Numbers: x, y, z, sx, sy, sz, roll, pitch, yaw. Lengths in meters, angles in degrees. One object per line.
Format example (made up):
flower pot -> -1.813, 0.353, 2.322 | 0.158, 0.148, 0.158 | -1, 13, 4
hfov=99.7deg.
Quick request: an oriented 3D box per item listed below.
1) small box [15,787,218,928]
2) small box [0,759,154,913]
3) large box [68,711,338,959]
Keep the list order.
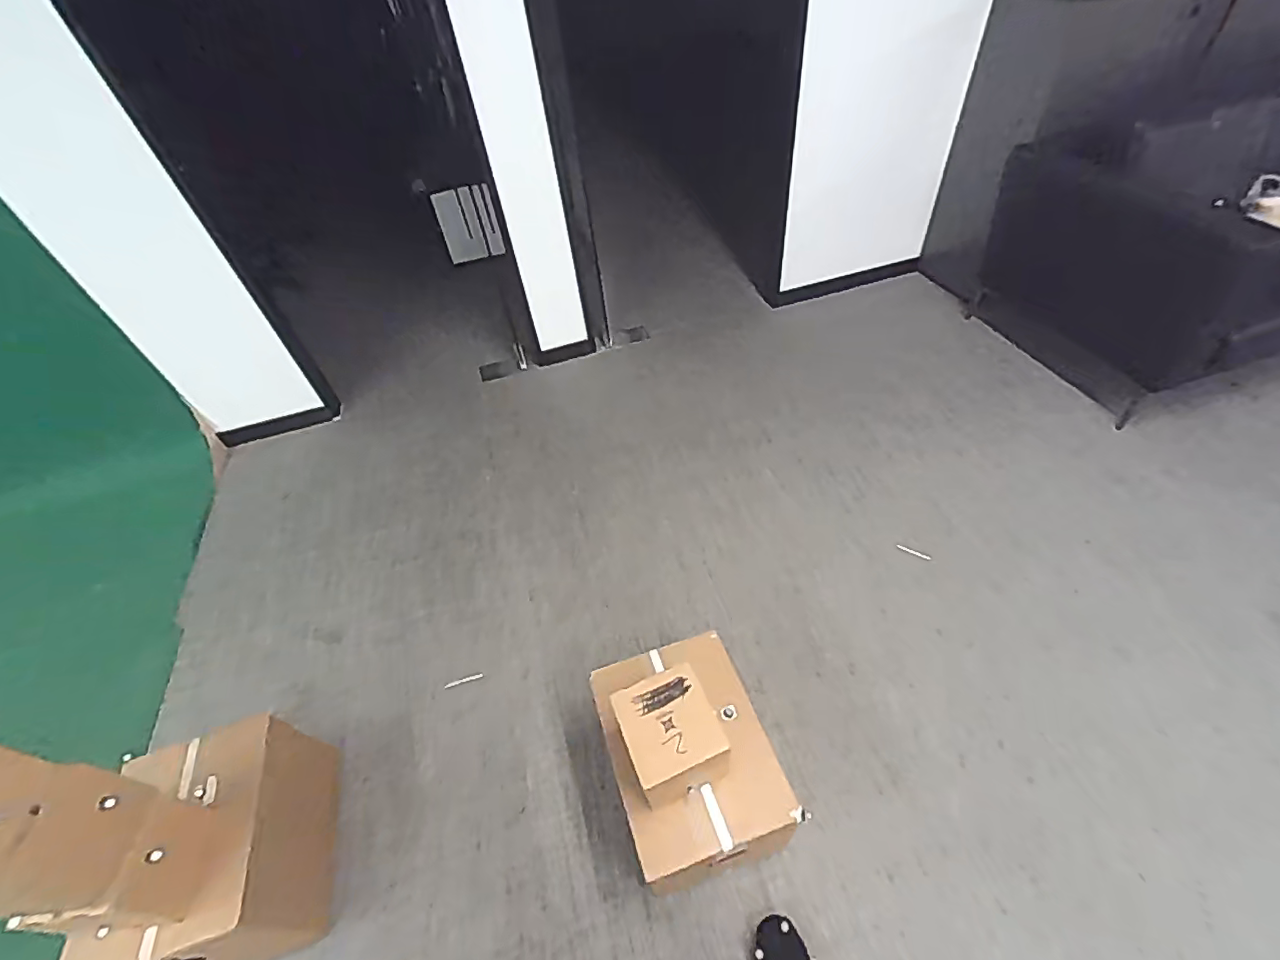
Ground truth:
small box -> -0.916, 0.680, 0.973 | 0.168, 0.176, 0.179 | -9, 48, 0
small box -> -0.940, 0.566, 0.858 | 0.168, 0.176, 0.179 | -7, 49, 3
large box -> -0.901, 0.804, 1.187 | 0.320, 0.320, 0.408 | -17, 47, -8
